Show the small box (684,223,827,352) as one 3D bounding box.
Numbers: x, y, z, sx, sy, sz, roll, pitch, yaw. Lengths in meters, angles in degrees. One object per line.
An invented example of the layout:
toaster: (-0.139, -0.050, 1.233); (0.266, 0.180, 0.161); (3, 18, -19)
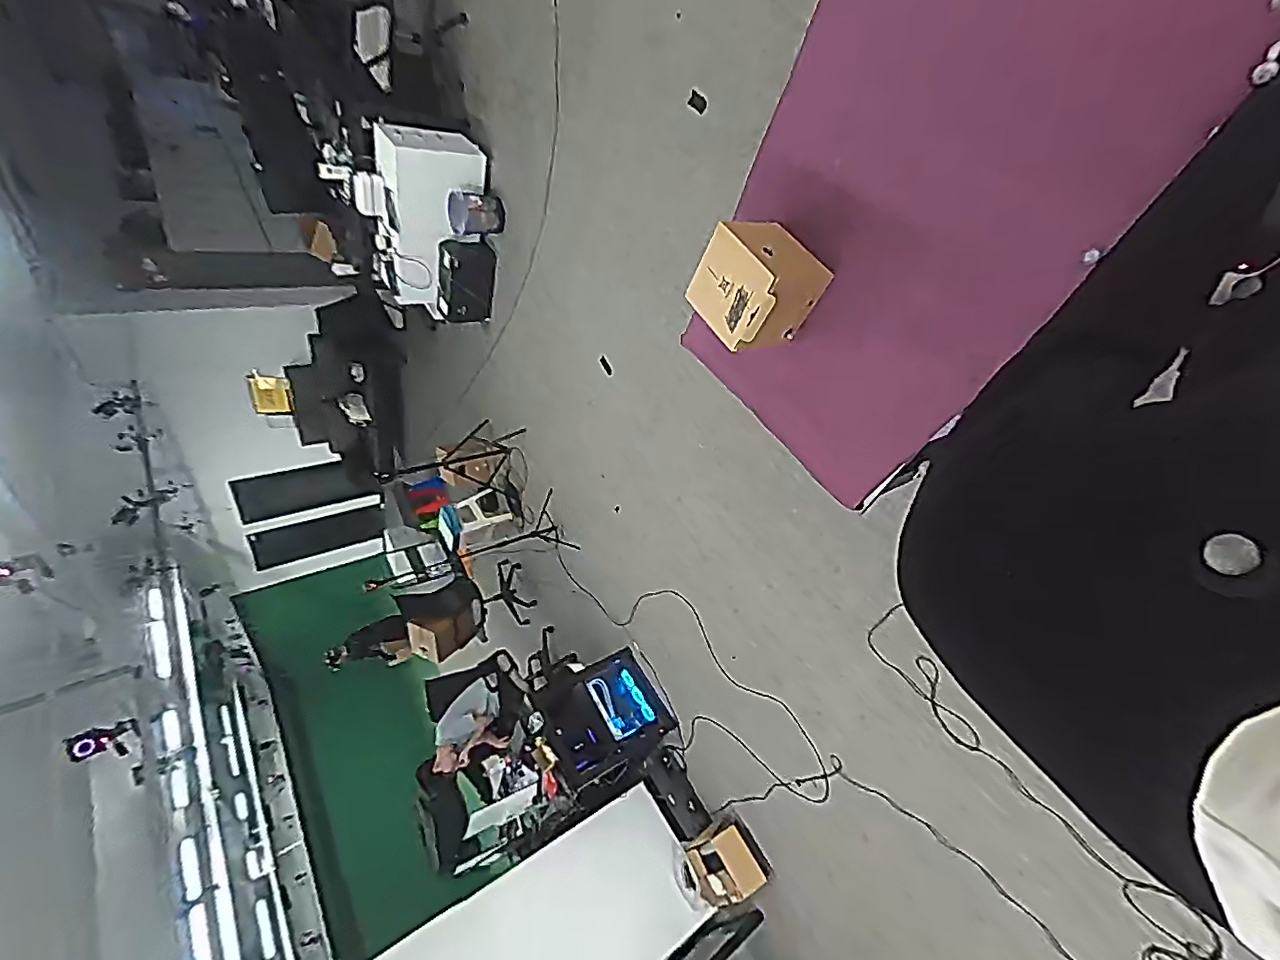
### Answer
small box: (0.223, -0.375, 1.048); (0.179, 0.176, 0.168); (56, 142, 24)
